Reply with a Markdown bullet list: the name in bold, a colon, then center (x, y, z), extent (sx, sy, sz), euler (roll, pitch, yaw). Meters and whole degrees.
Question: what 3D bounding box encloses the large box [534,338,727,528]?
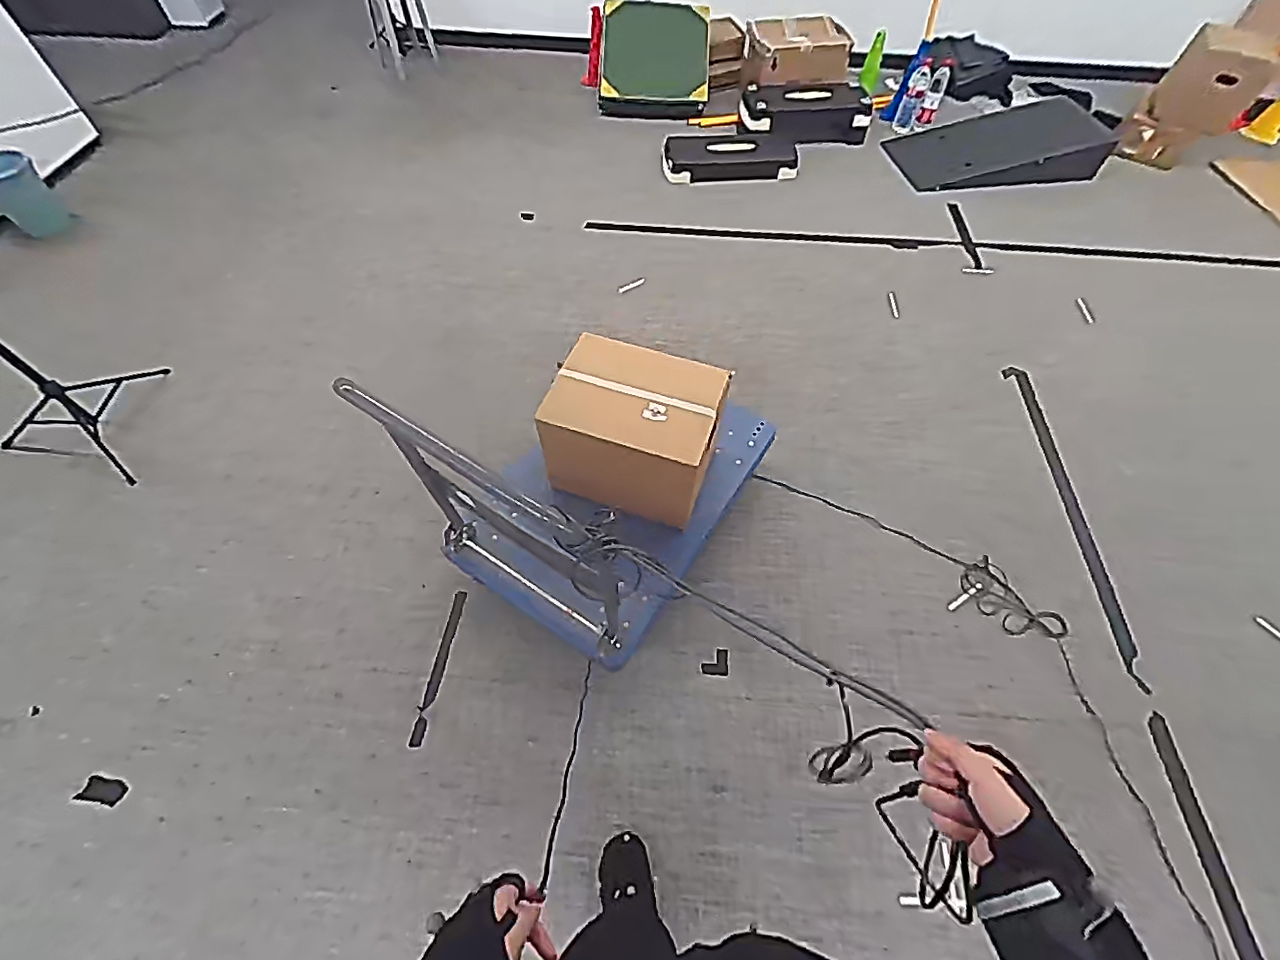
- **large box**: center (-0.021, -0.120, 1.433), extent (0.408, 0.320, 0.320), euler (17, 59, 9)
